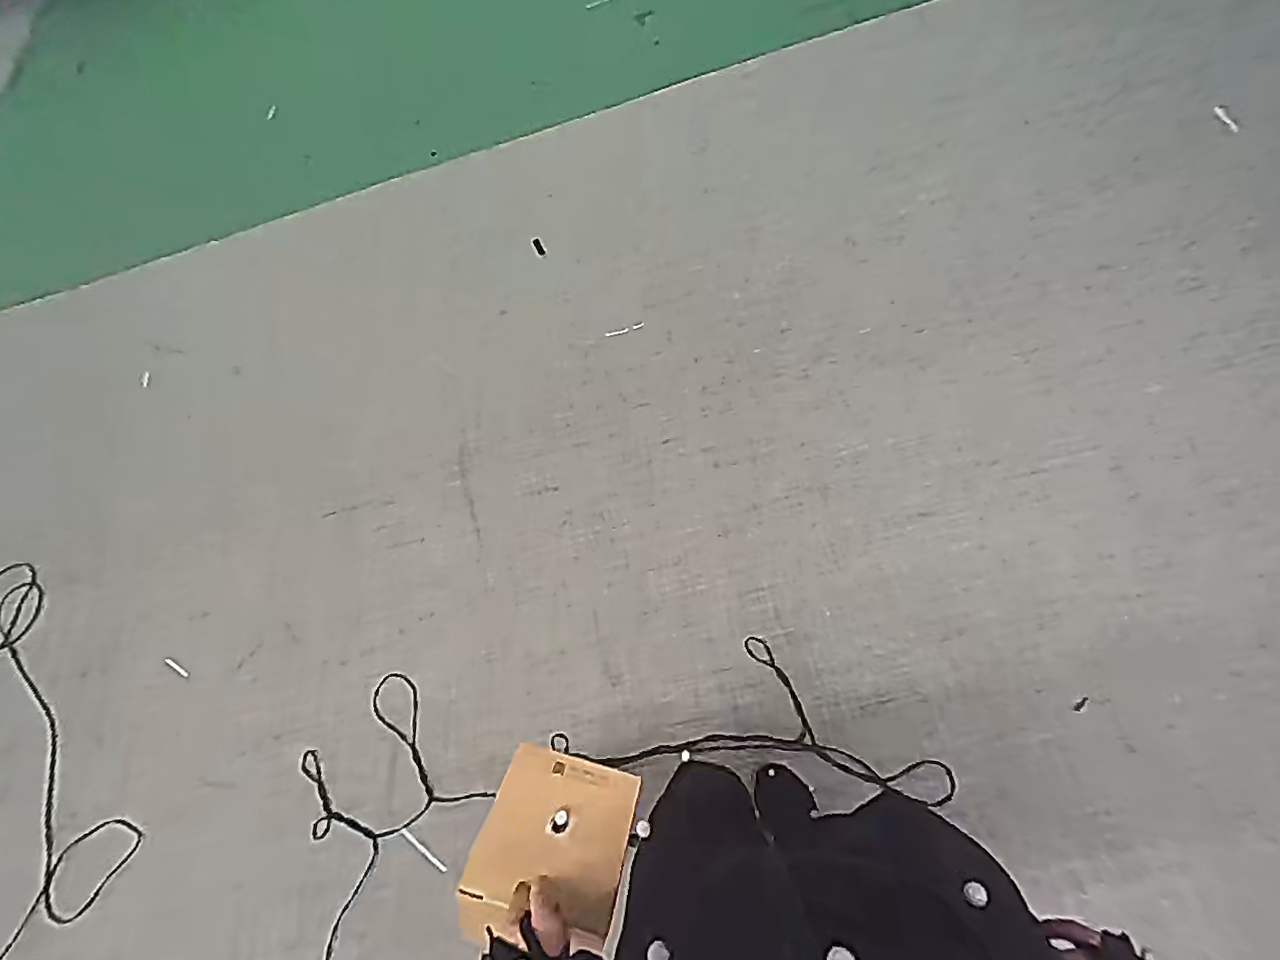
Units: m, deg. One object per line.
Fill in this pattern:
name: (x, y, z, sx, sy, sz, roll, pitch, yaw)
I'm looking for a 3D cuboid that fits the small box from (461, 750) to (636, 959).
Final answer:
small box: (-0.107, 0.470, 0.671, 0.168, 0.179, 0.176, 14, 35, 5)
